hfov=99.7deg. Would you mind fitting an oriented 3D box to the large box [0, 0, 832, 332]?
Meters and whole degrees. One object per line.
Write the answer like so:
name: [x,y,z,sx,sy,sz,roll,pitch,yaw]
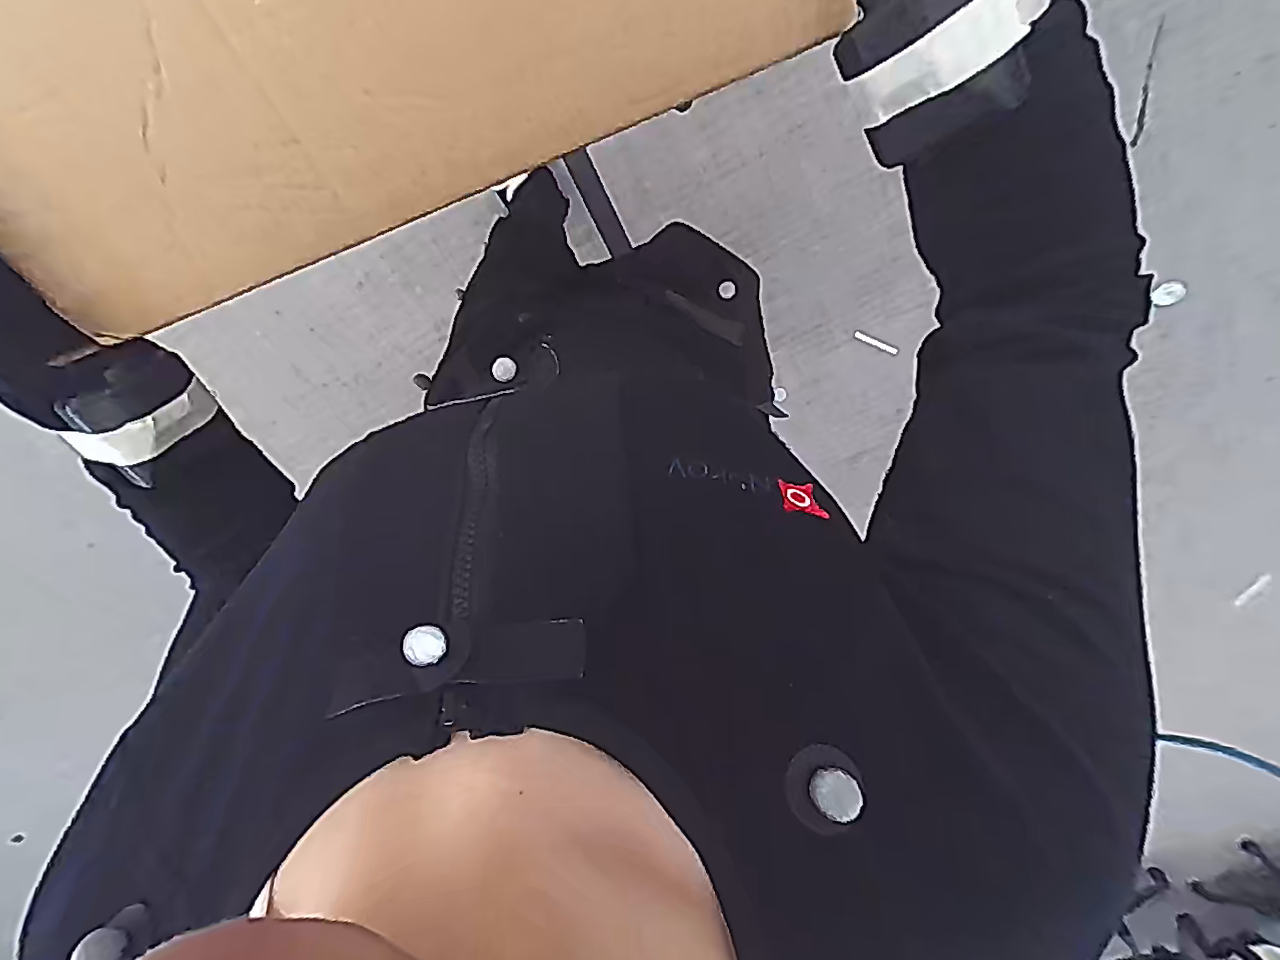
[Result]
large box: [-0.162,-0.345,0.264,0.408,0.320,0.320,-18,135,9]
